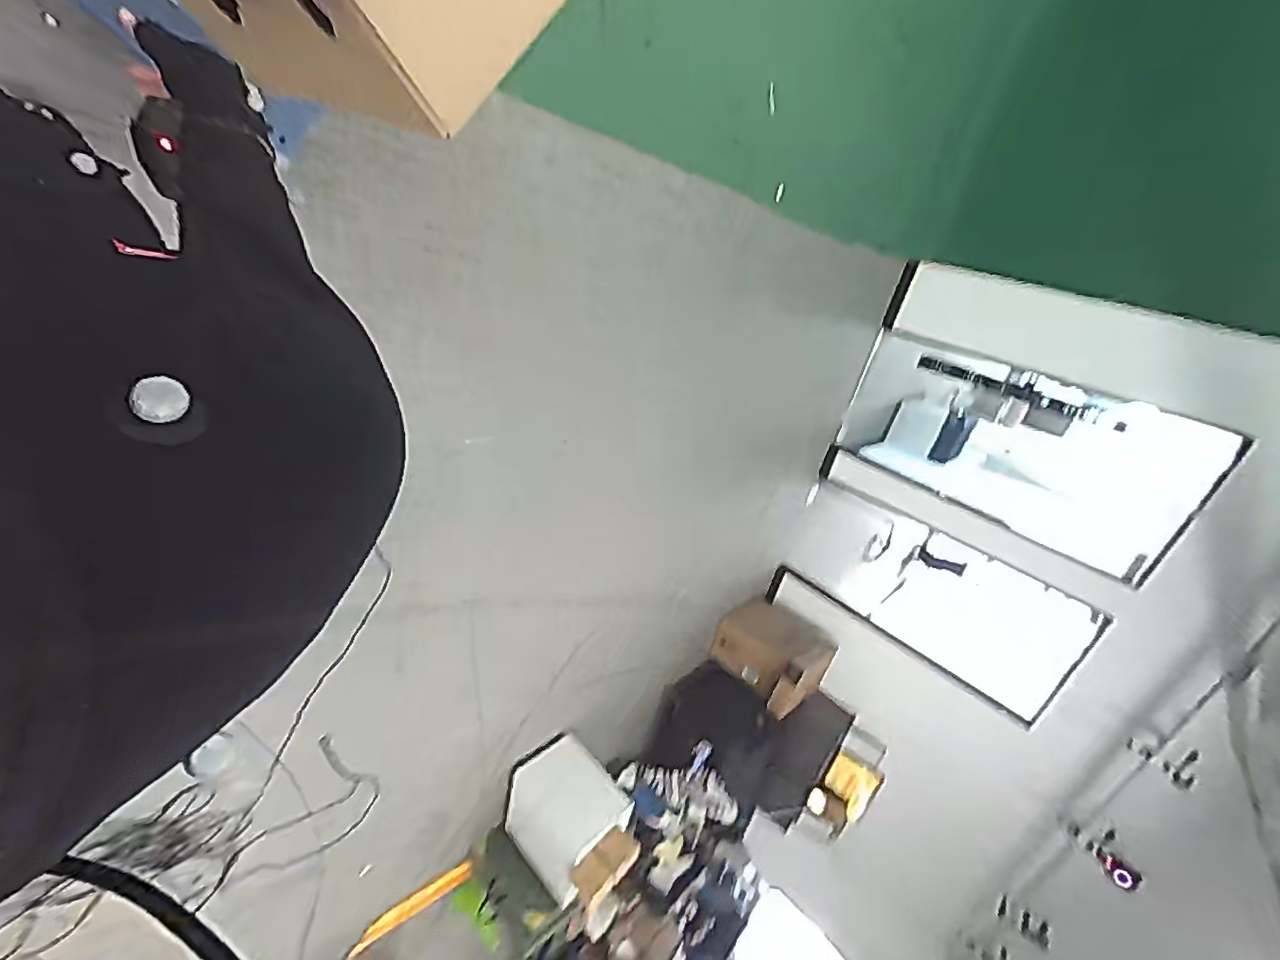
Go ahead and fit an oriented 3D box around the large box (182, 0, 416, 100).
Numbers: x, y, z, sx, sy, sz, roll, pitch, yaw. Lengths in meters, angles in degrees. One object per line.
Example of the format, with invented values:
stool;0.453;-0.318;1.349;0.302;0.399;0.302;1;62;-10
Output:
large box;-0.494;-0.834;0.752;0.408;0.320;0.320;-52;144;-4
